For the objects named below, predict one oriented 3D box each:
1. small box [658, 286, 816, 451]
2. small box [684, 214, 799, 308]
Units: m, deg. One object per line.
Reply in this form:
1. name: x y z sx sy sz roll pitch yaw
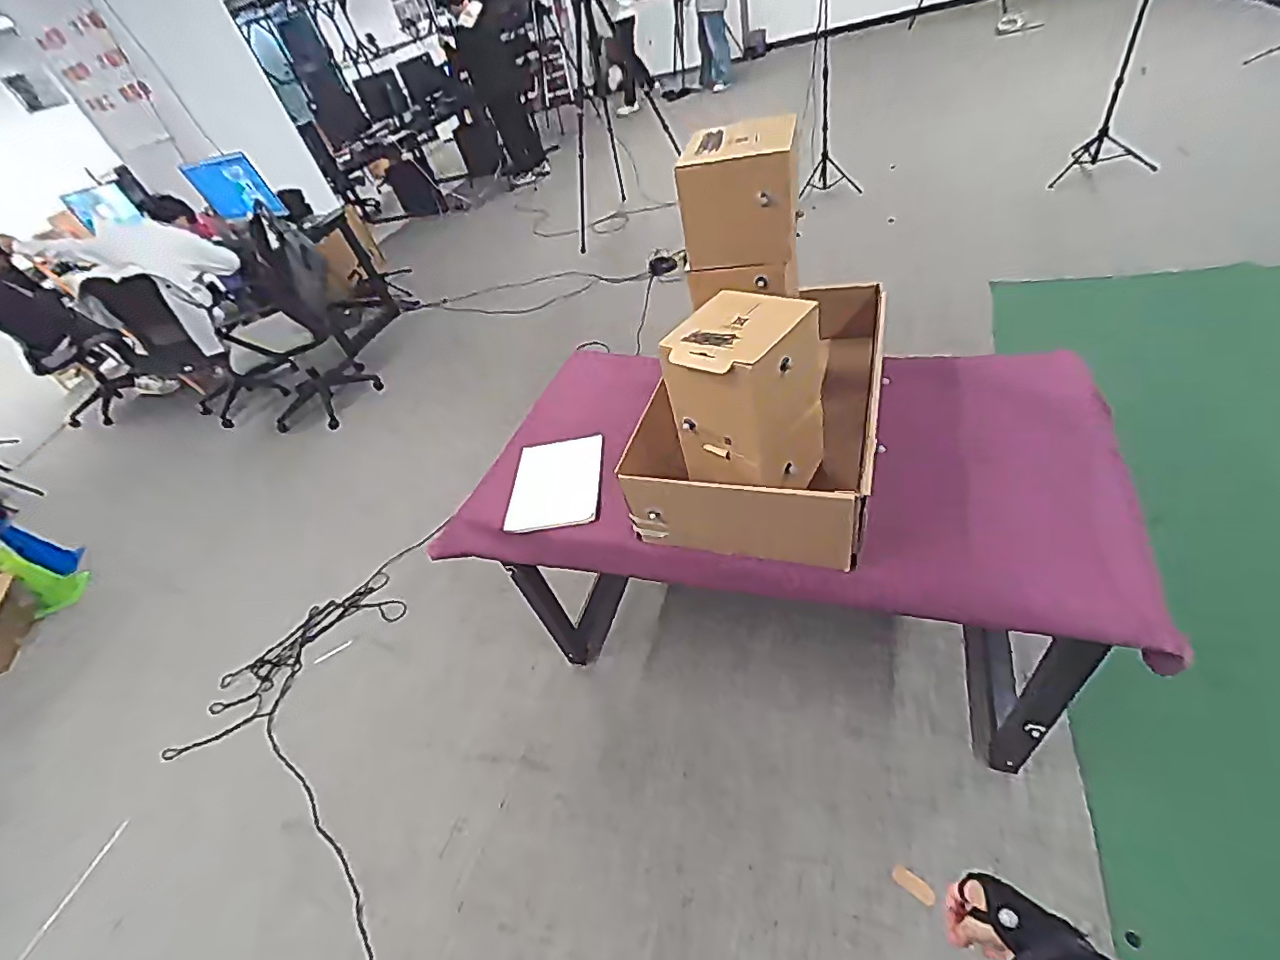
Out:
1. small box: 0.157 -0.171 0.824 0.168 0.176 0.179 24 56 37
2. small box: 0.199 -0.373 1.018 0.179 0.176 0.168 4 50 21
